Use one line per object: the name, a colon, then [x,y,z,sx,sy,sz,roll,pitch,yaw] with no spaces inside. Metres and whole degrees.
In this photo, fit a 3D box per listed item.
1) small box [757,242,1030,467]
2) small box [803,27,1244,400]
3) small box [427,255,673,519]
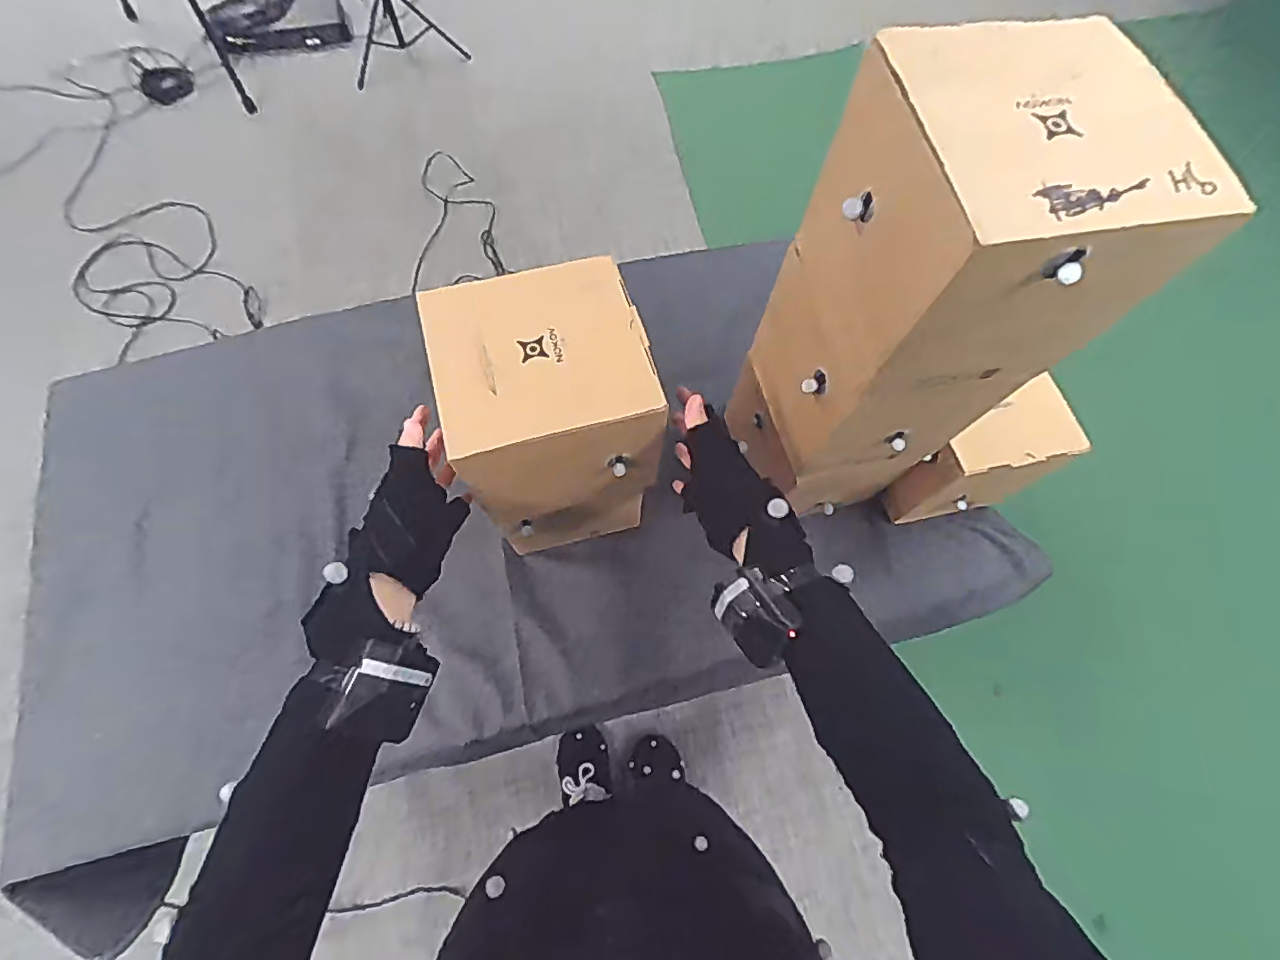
small box: [0.234,-0.124,0.550,0.168,0.176,0.179,-10,69,-6]
small box: [0.239,-0.183,0.397,0.168,0.176,0.179,-9,68,-5]
small box: [-0.082,-0.079,0.522,0.179,0.176,0.168,-15,69,-8]
